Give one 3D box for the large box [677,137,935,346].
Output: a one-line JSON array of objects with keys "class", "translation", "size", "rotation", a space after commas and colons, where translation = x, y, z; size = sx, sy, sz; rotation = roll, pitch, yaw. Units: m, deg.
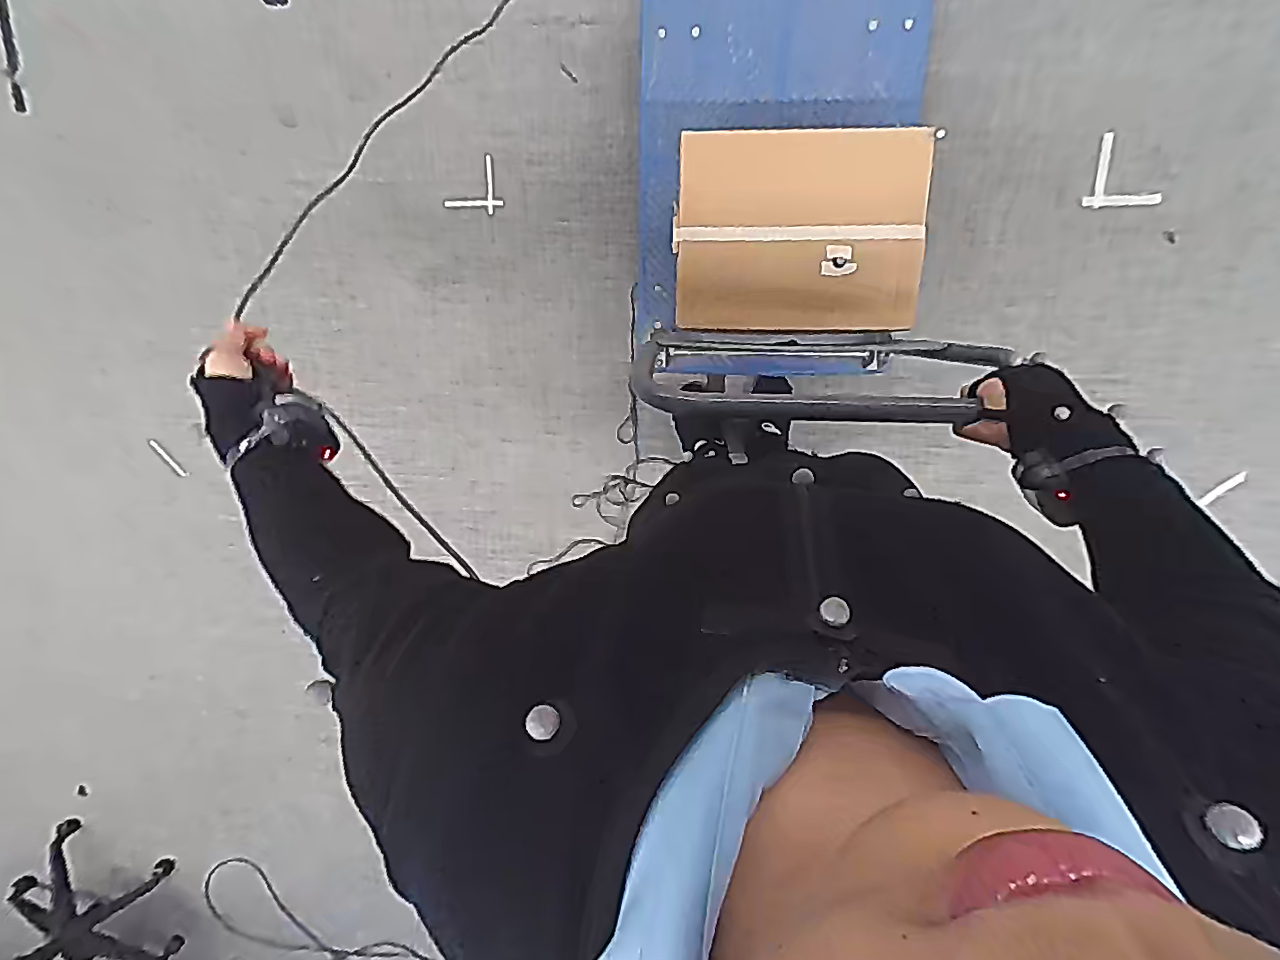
[{"class": "large box", "translation": [0.275, -0.423, 1.039], "size": [0.408, 0.320, 0.320], "rotation": [1, 103, 3]}]
